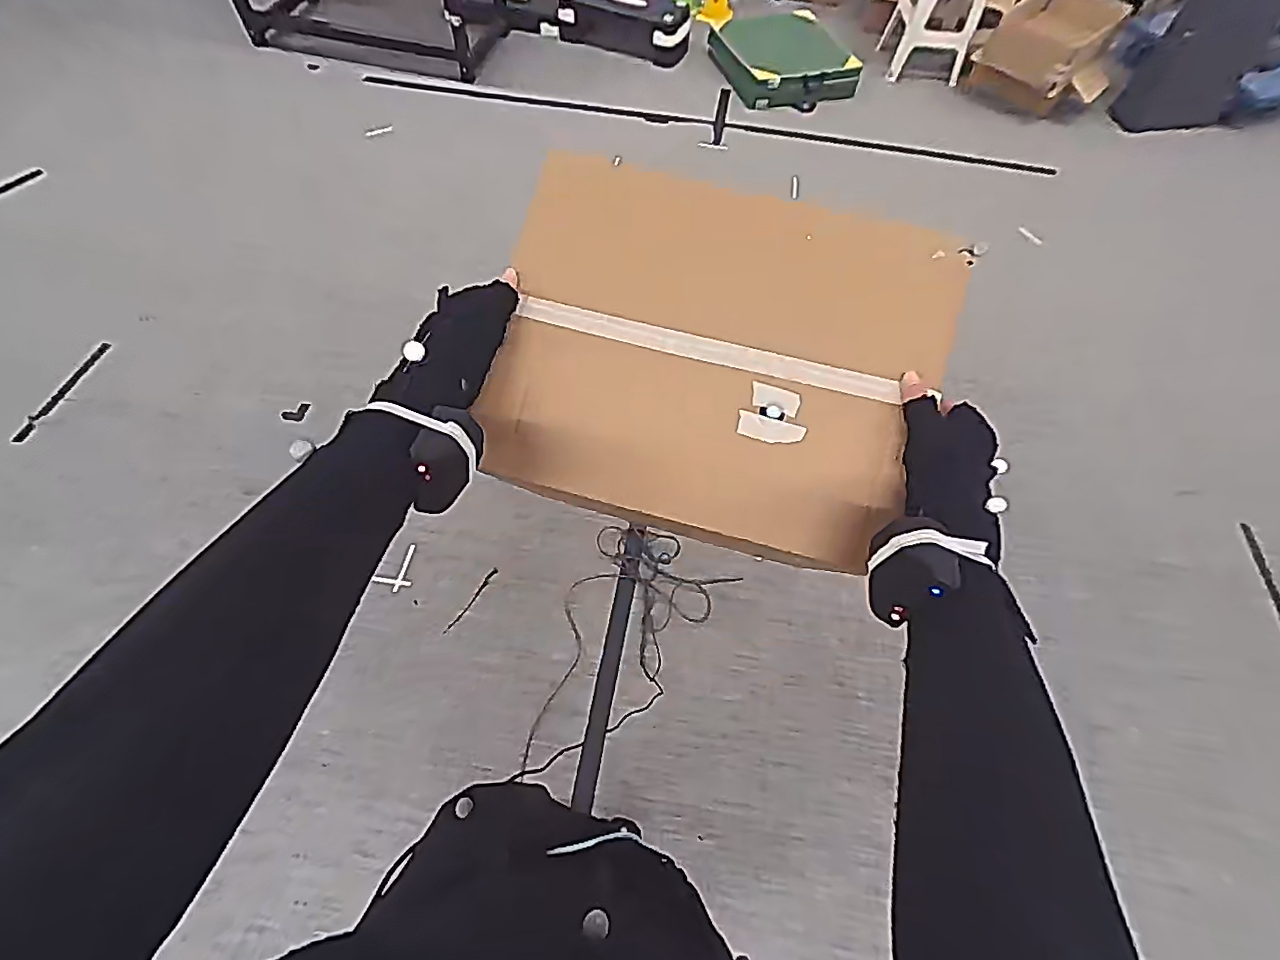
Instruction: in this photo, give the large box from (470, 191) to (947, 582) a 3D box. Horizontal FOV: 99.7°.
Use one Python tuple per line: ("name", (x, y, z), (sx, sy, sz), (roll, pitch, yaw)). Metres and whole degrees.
("large box", (0.070, -0.081, 0.659), (0.408, 0.320, 0.320), (15, 84, 4))
